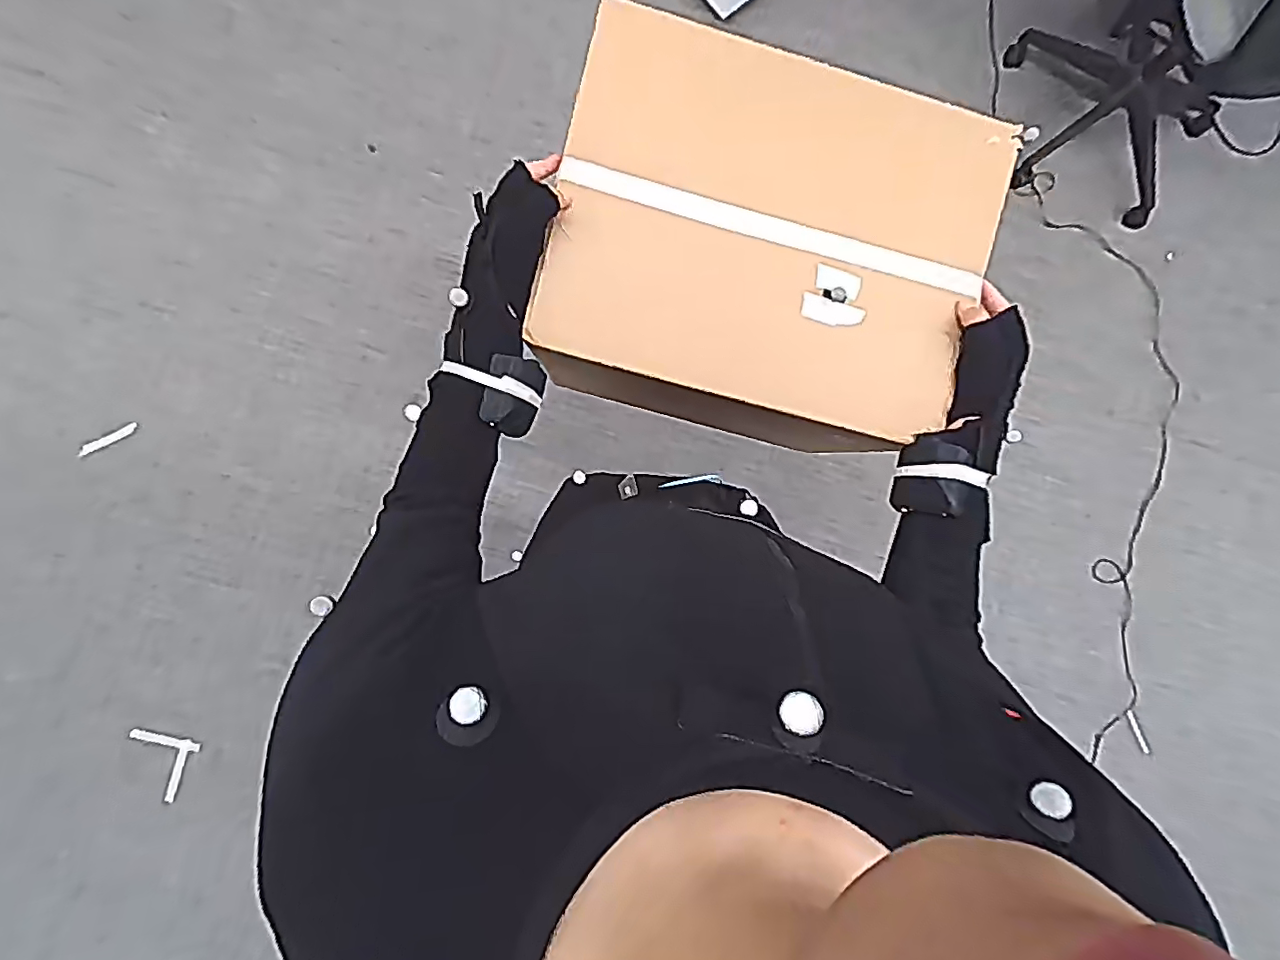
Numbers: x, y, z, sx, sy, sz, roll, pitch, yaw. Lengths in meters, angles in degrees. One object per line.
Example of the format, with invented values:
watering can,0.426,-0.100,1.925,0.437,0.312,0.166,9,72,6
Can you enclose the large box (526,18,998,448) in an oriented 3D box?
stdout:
large box,0.106,-0.233,0.656,0.408,0.320,0.320,14,93,-5
